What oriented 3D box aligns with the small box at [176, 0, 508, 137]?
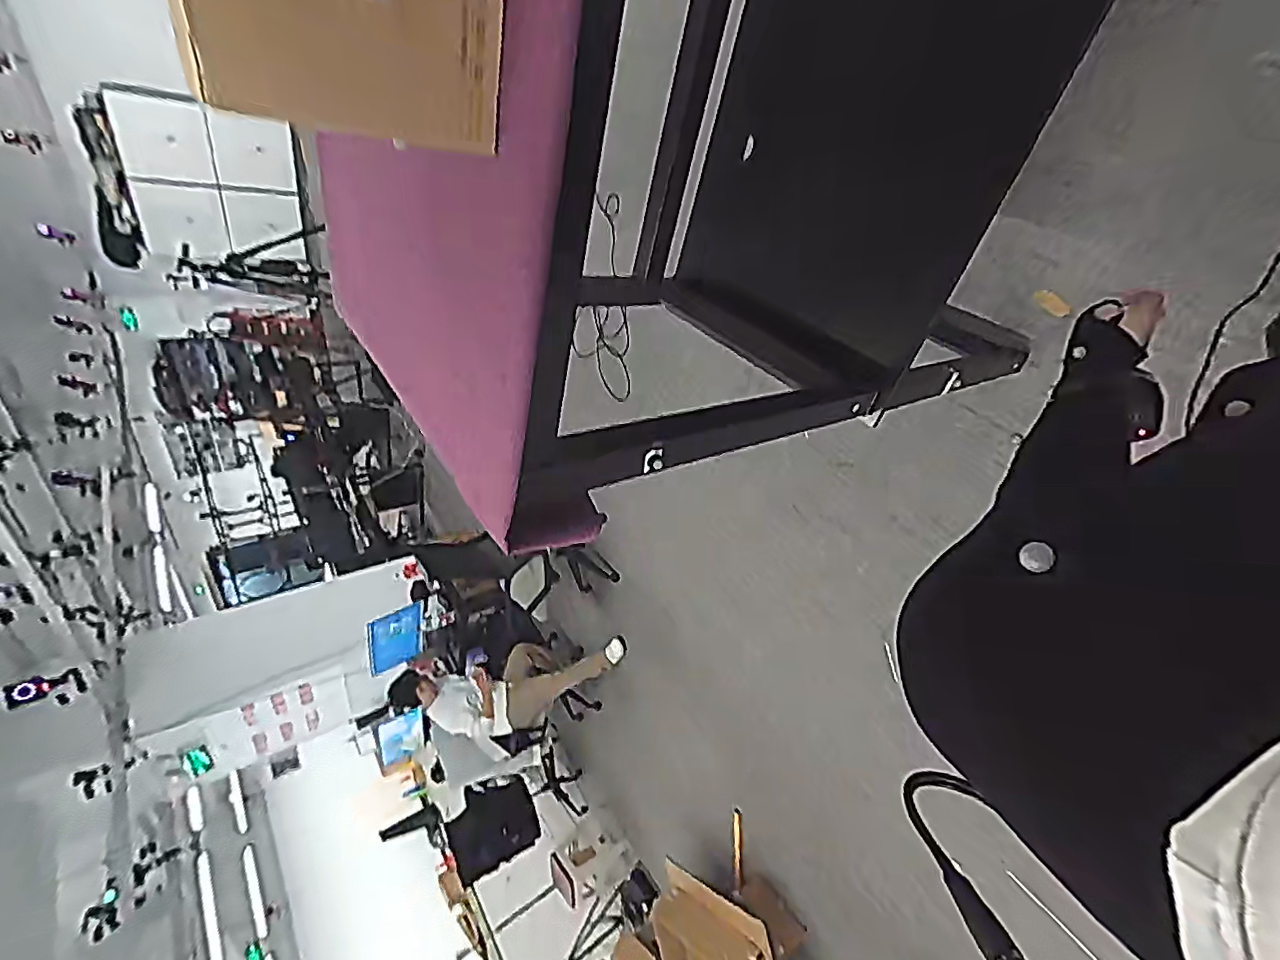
[{"bbox_3d":[-0.191,-0.334,0.340,0.179,0.176,0.168,45,134,35],"label":"small box"}]
